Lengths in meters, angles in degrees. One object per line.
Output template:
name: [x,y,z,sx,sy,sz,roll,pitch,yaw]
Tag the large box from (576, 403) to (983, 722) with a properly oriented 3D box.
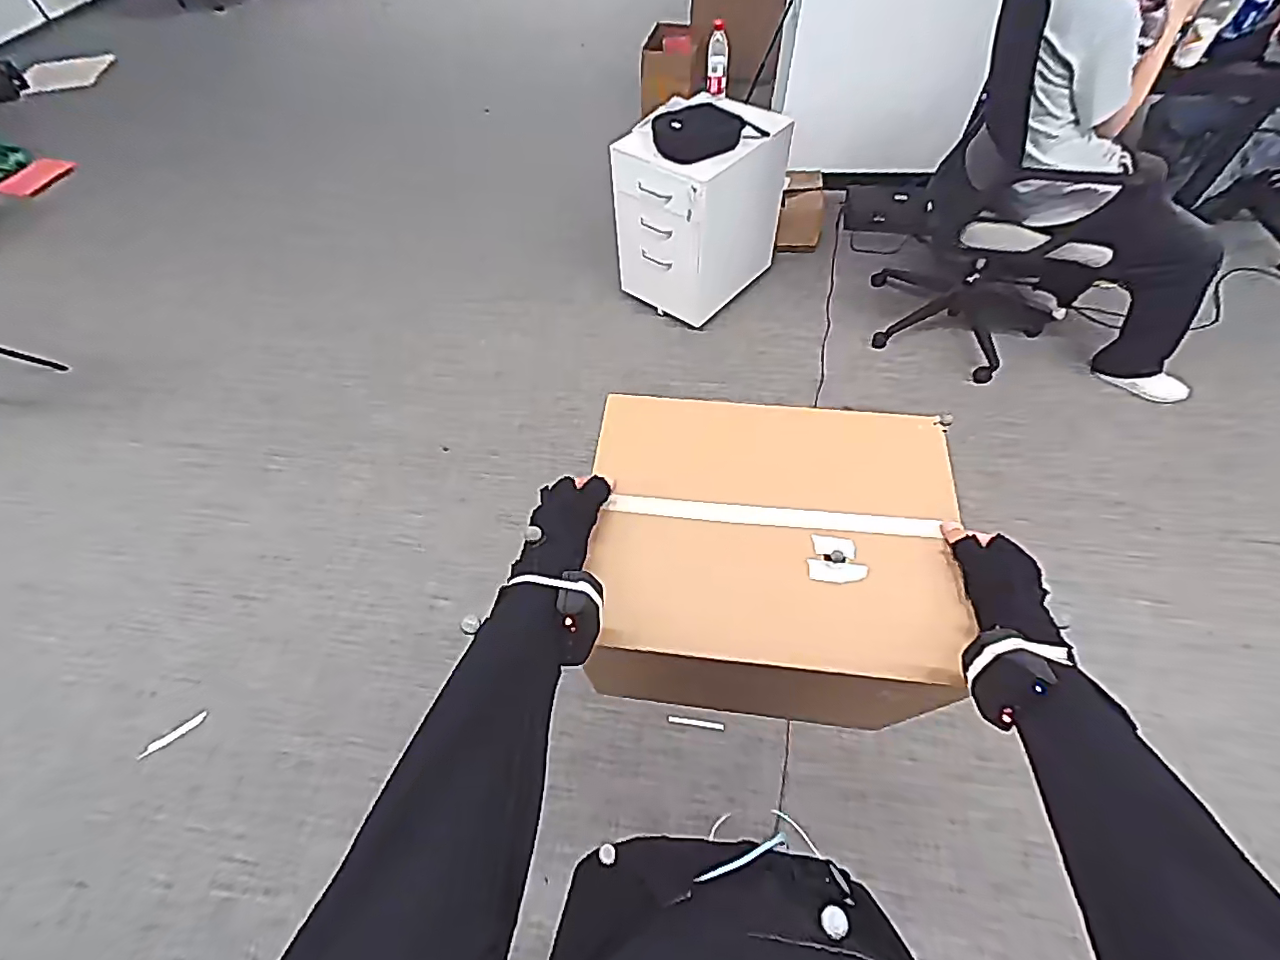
large box: [0.152,0.122,0.731,0.408,0.320,0.320,5,61,6]
